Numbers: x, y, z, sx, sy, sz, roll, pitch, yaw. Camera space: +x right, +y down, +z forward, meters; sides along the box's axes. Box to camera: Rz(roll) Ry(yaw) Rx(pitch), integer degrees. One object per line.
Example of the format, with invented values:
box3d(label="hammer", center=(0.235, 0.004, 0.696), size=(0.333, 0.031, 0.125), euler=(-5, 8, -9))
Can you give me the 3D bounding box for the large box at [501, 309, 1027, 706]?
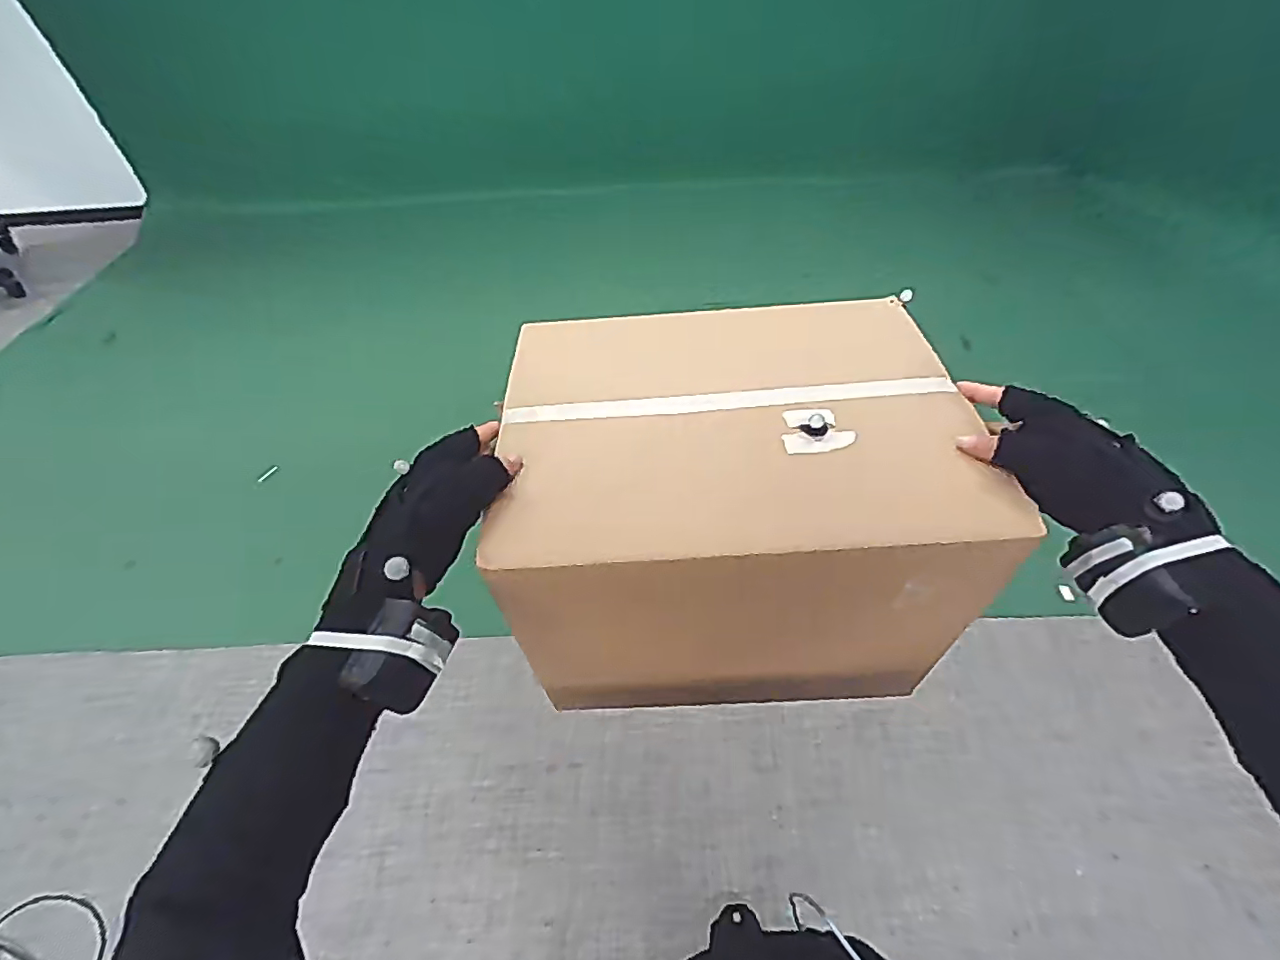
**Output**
box3d(label="large box", center=(0.091, 0.037, 0.609), size=(0.408, 0.320, 0.320), euler=(-4, 49, 1))
